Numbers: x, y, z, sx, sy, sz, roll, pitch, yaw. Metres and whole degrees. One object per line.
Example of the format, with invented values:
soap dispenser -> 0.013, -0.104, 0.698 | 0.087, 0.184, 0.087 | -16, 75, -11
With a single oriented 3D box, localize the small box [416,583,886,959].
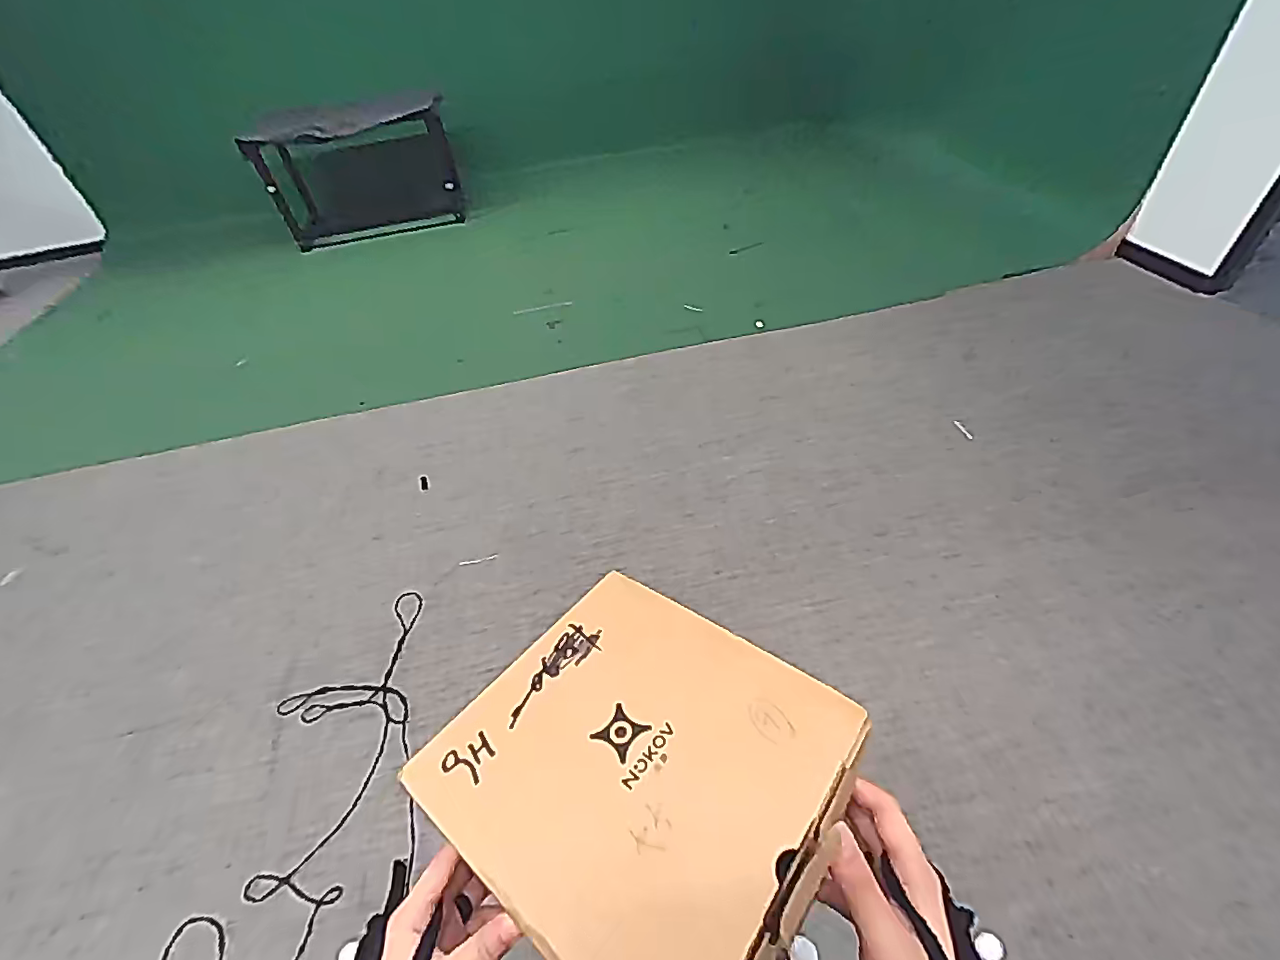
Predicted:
small box -> 0.011, 0.201, 0.315 | 0.179, 0.176, 0.168 | 24, 47, 35
